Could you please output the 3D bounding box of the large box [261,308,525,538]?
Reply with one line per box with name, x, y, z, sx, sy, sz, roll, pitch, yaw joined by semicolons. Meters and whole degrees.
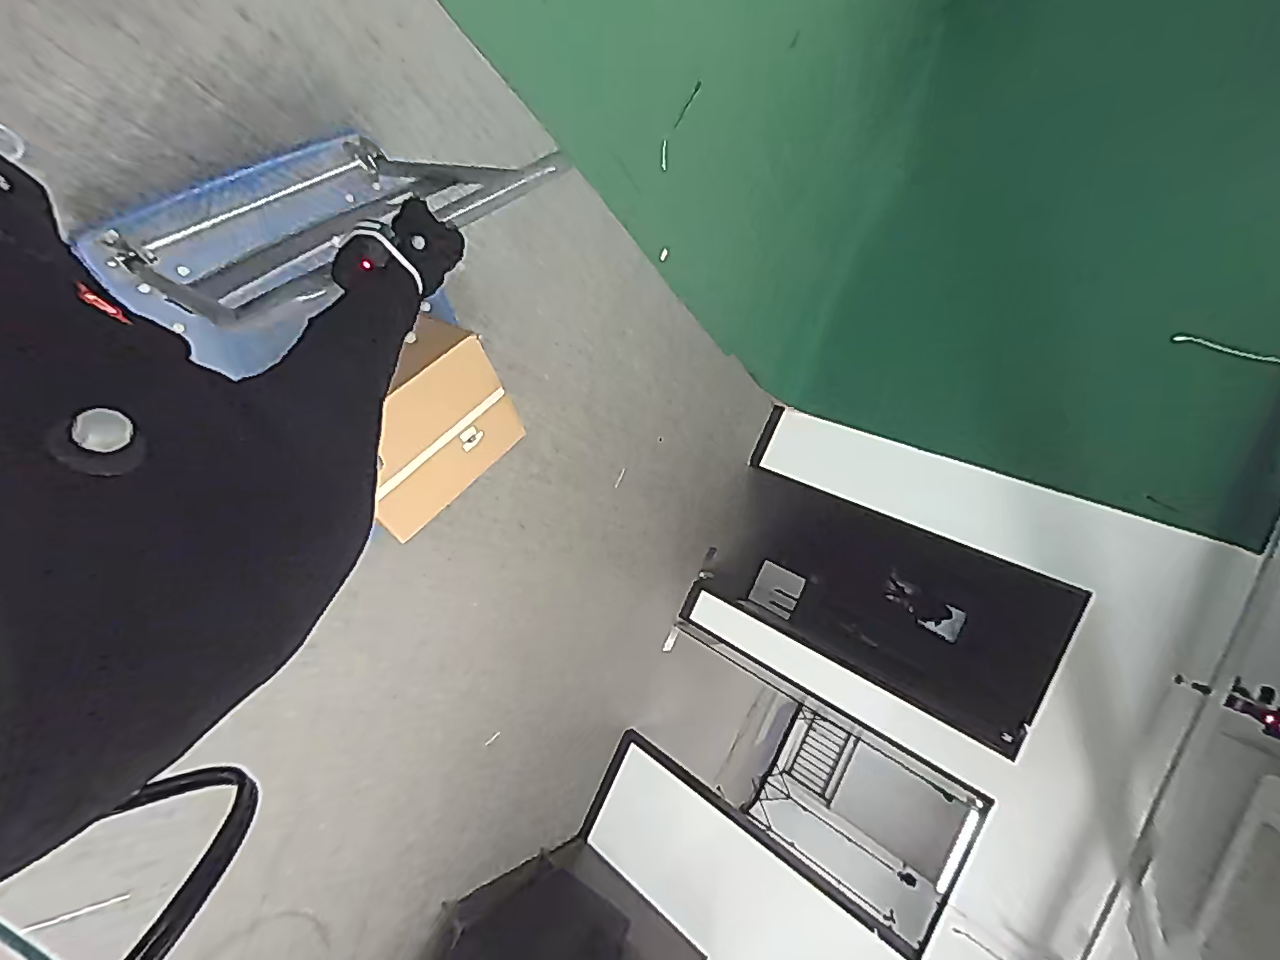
large box;-0.561;-0.147;1.278;0.408;0.320;0.320;-49;145;-25
